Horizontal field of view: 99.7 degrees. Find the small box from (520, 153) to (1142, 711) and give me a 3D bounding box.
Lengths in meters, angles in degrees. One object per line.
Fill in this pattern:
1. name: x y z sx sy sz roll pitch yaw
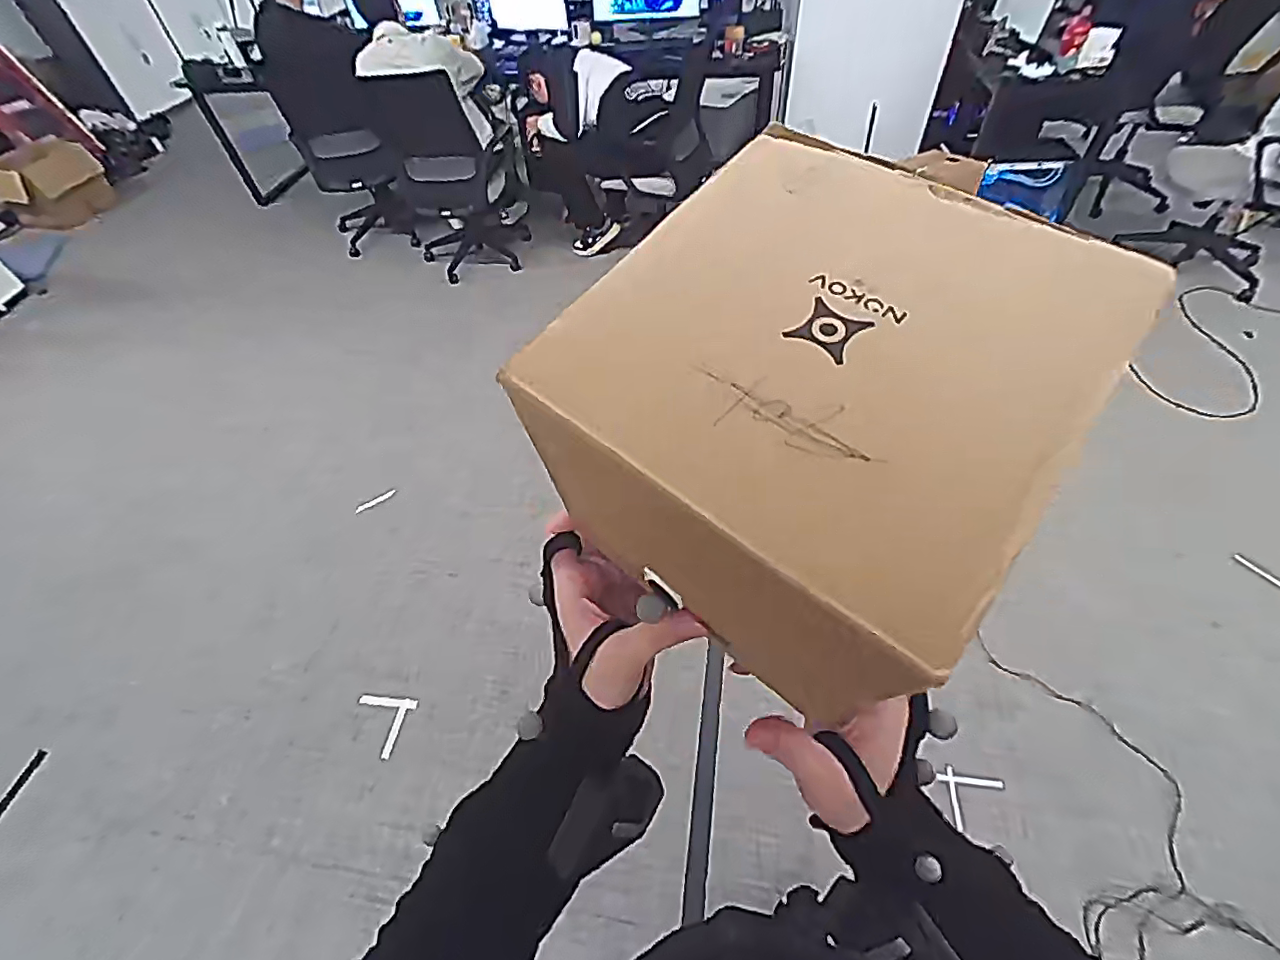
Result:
1. small box: 0.075 -0.012 0.270 0.168 0.176 0.179 34 72 21
